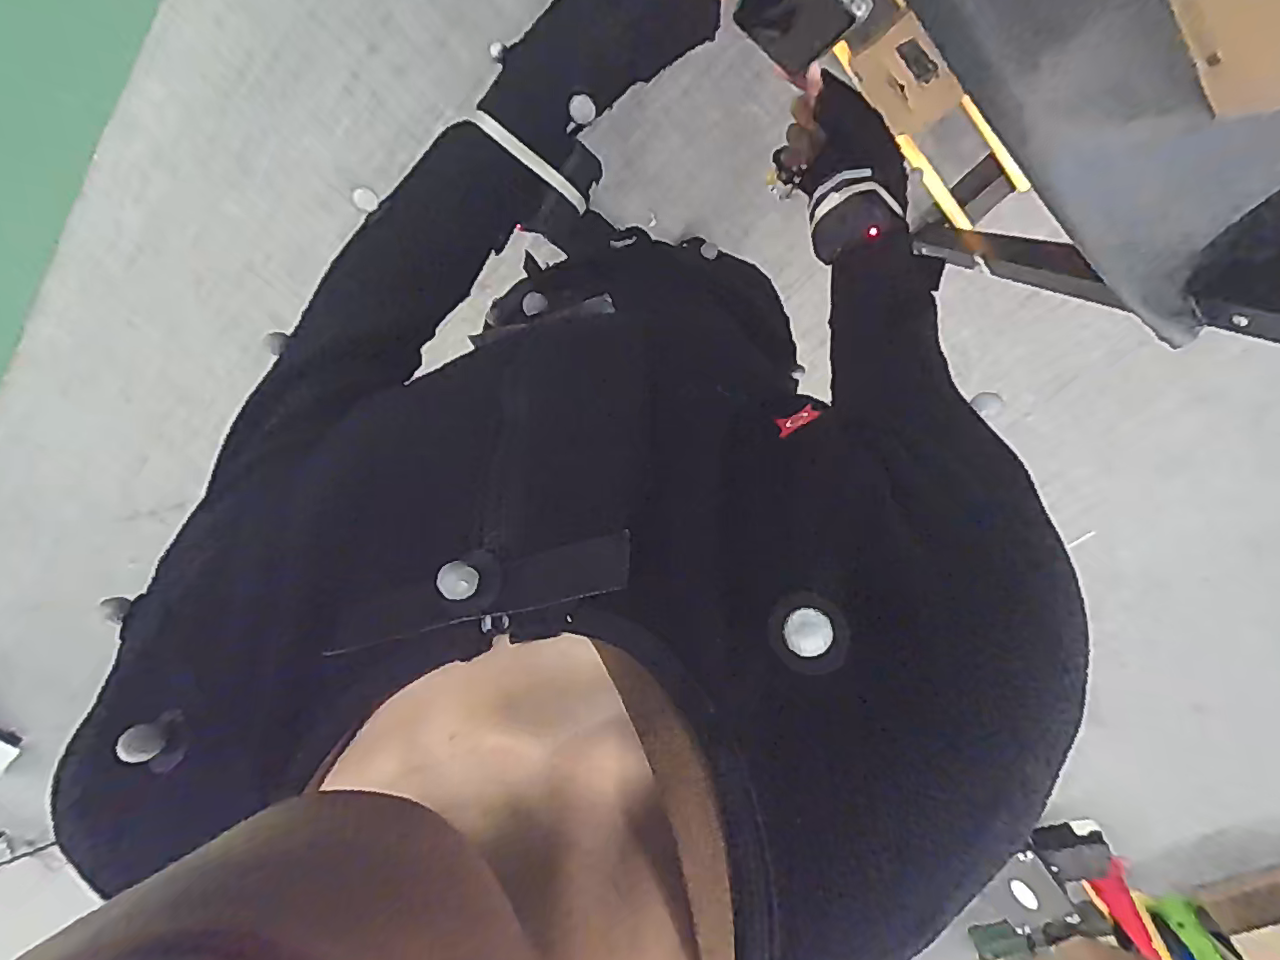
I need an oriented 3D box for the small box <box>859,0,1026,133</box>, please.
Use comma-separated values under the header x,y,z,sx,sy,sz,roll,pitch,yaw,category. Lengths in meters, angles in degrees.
x,y,z,sx,sy,sz,roll,pitch,yaw,category
0.506,-0.739,0.938,0.179,0.176,0.168,-38,111,20,small box
